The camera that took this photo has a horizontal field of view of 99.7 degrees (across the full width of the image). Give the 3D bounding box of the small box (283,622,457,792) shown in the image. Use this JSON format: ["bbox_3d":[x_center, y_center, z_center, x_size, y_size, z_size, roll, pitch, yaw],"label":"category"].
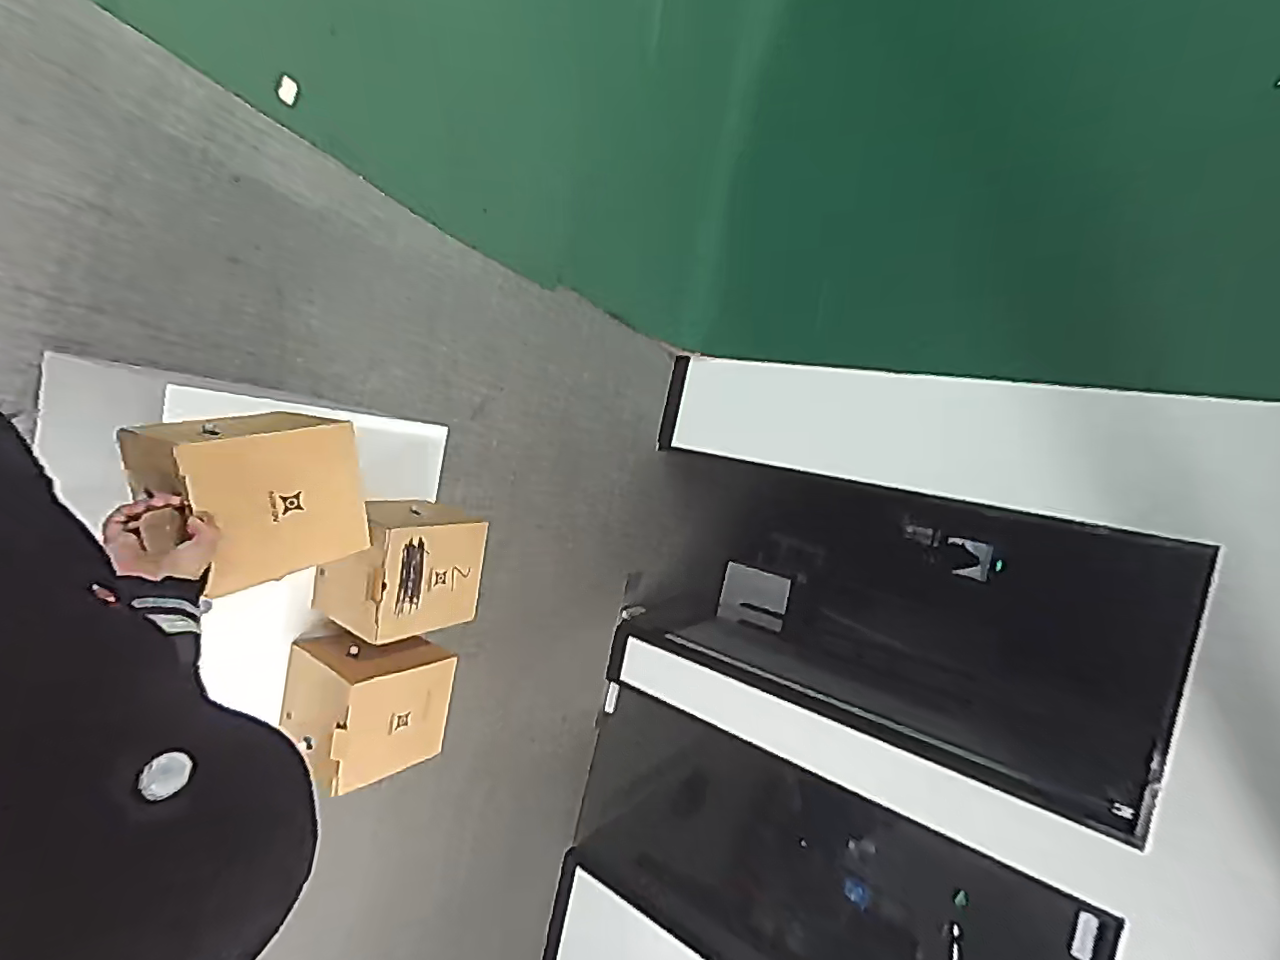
[{"bbox_3d":[-0.421,0.337,0.844,0.179,0.176,0.168,4,98,-59],"label":"small box"}]

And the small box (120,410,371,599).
[{"bbox_3d":[-0.459,0.013,0.643,0.179,0.176,0.168,-25,118,-53],"label":"small box"}]
